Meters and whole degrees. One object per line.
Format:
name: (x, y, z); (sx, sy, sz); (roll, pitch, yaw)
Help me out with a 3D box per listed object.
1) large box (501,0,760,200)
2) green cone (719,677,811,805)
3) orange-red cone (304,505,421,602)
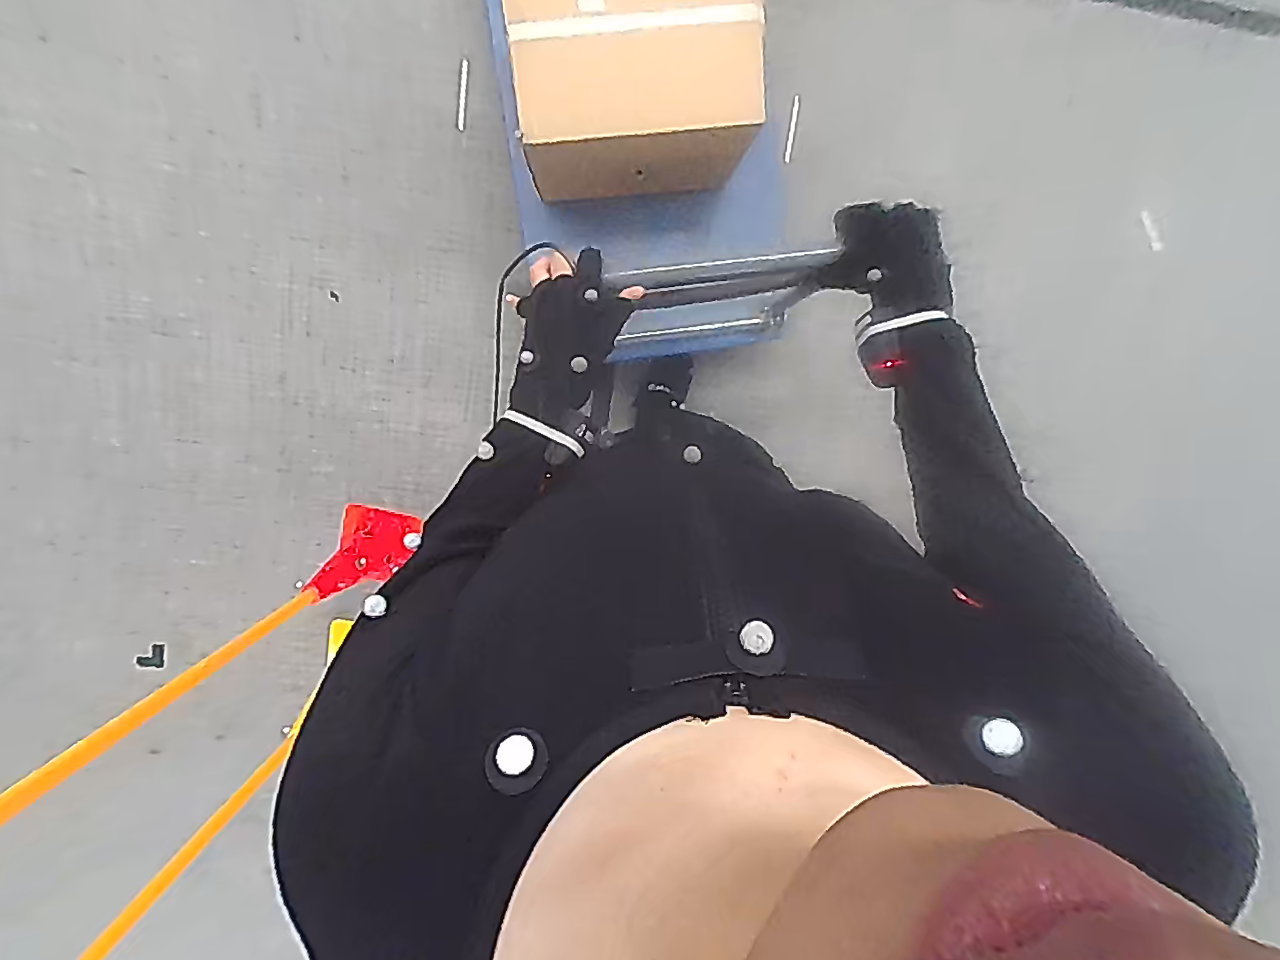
large box: (-0.021, -0.747, 1.007); (0.408, 0.320, 0.320); (-7, 101, -2)
green cone: (0.361, 0.718, 1.442); (0.202, 0.368, 0.200); (10, 99, -7)
orange-red cone: (-0.688, 0.204, 1.281); (0.198, 0.360, 0.199); (14, 97, -7)
